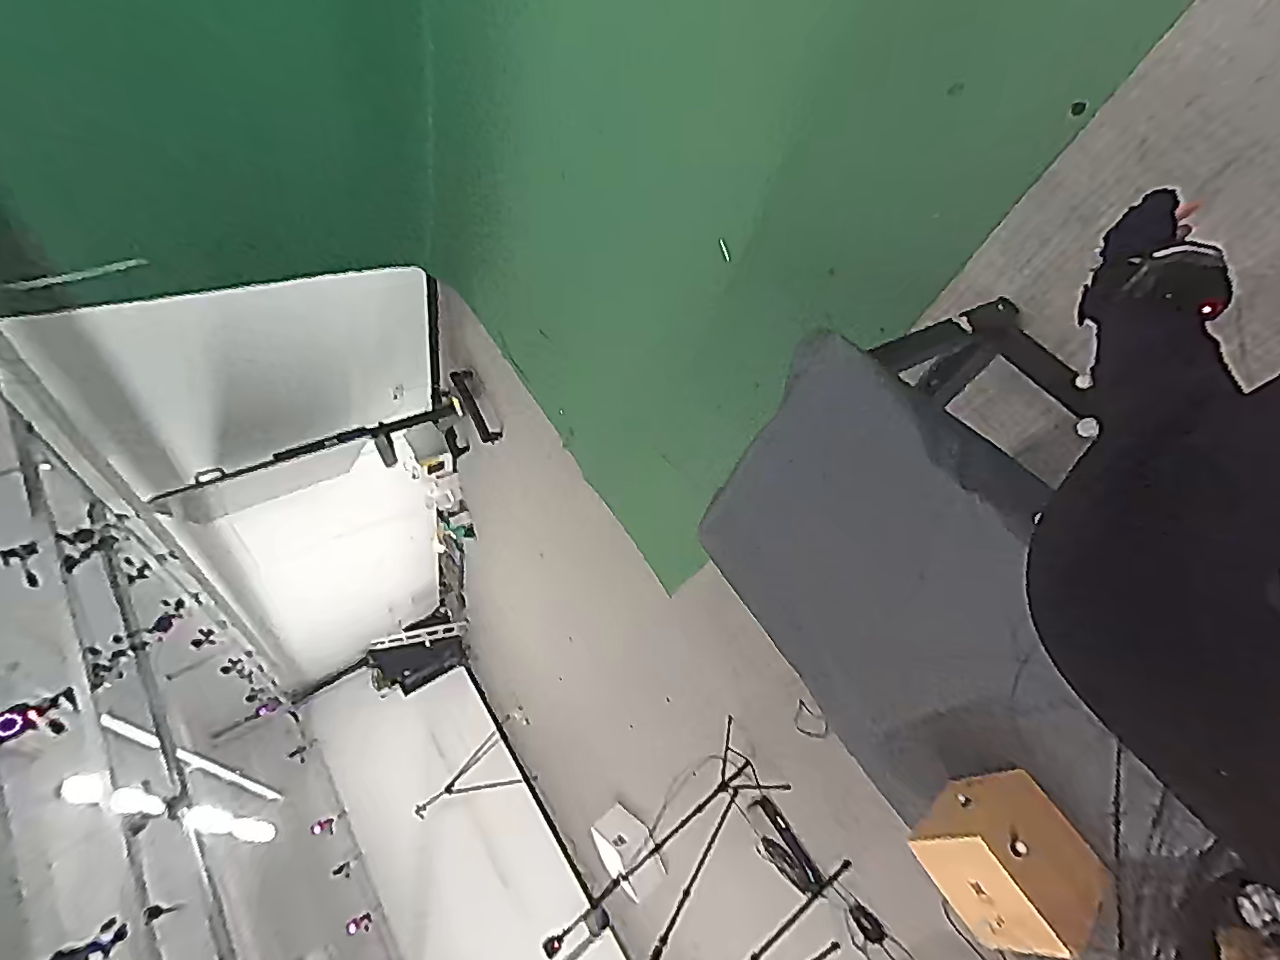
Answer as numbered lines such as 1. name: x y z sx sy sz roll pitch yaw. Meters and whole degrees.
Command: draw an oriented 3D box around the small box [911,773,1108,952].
1. small box: 0.596 0.606 0.880 0.179 0.176 0.168 53 145 19
